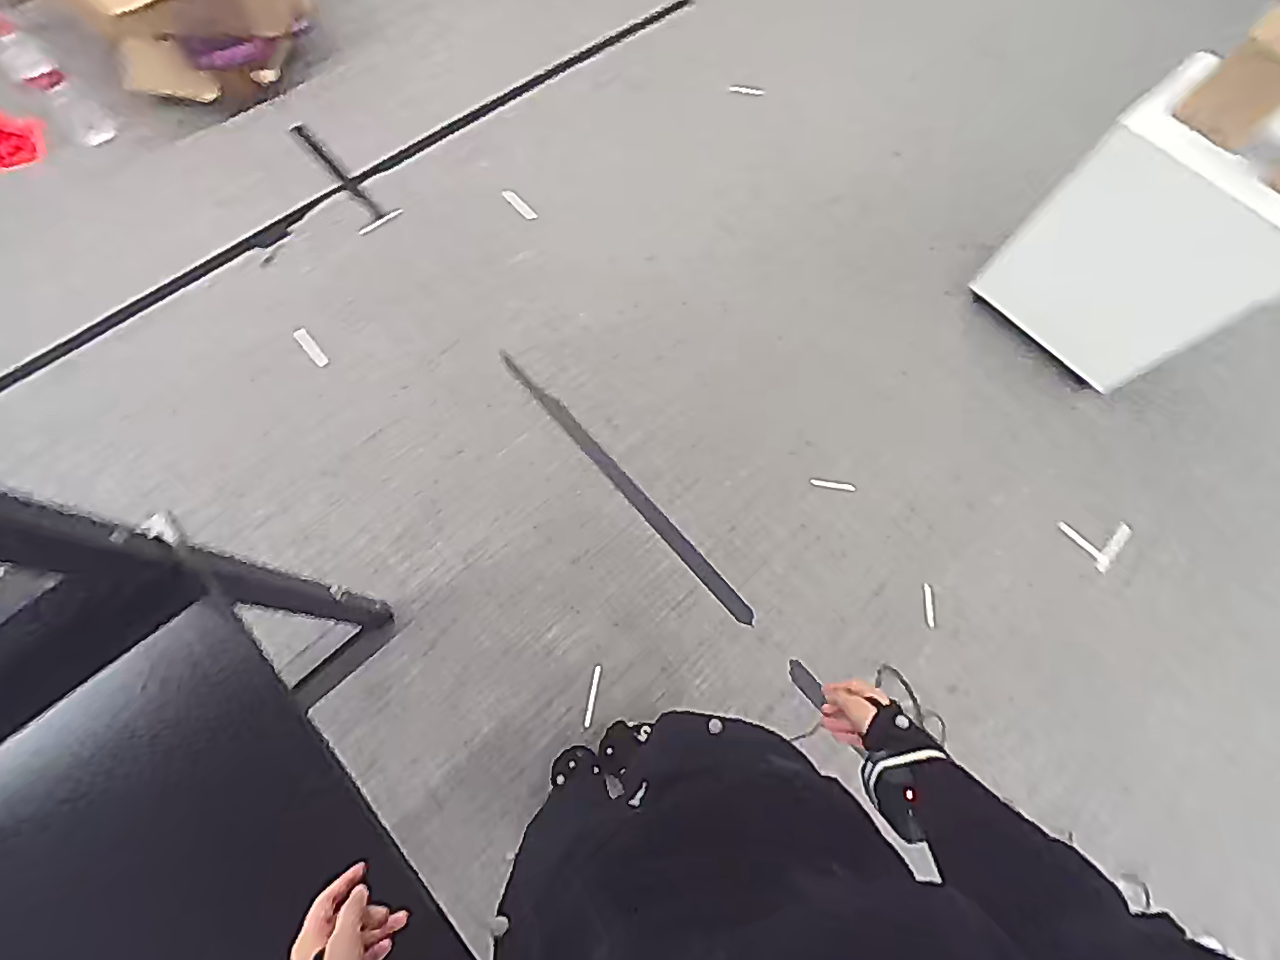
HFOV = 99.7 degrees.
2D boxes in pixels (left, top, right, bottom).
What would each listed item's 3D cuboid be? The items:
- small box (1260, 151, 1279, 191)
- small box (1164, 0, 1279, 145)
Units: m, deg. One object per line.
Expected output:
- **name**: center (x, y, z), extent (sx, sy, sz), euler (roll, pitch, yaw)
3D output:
- **small box**: center (1.464, -0.684, 1.112), extent (0.179, 0.176, 0.168), euler (-39, 76, -14)
- **small box**: center (1.311, -0.879, 1.172), extent (0.179, 0.176, 0.168), euler (-42, 78, -16)
